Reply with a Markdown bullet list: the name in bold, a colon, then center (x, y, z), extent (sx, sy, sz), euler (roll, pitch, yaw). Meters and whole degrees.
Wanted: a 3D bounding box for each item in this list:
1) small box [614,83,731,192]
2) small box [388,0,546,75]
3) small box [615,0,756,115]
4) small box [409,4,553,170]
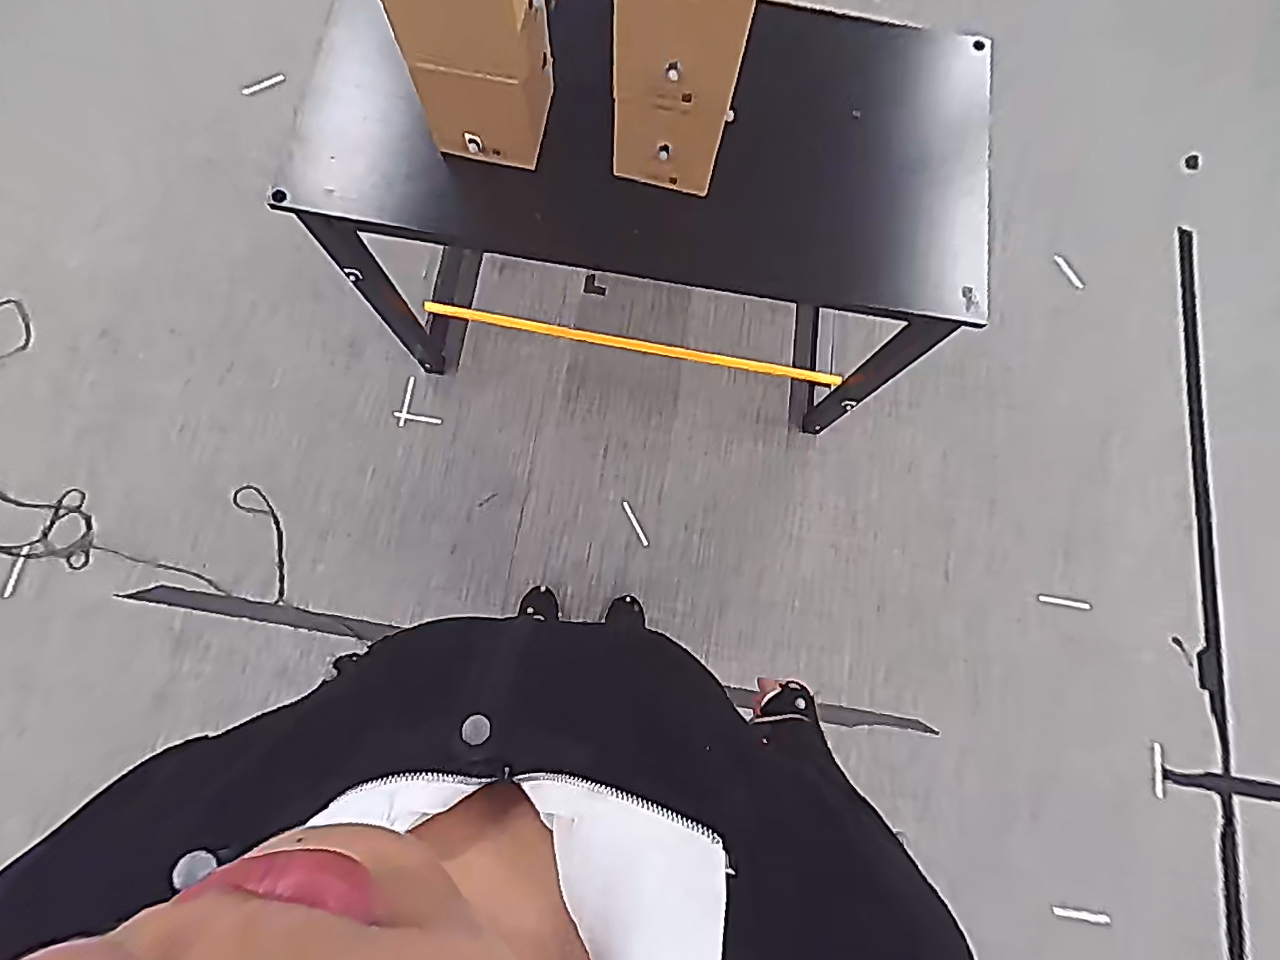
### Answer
- **small box**: center (0.058, -0.604, 0.870), extent (0.168, 0.176, 0.179), euler (13, 78, -1)
- **small box**: center (-0.229, -0.671, 0.698), extent (0.179, 0.176, 0.168), euler (8, 78, -2)
- **small box**: center (0.060, -0.630, 0.706), extent (0.168, 0.176, 0.179), euler (9, 78, -1)
- **small box**: center (-0.238, -0.639, 0.860), extent (0.168, 0.176, 0.179), euler (9, 79, -1)
